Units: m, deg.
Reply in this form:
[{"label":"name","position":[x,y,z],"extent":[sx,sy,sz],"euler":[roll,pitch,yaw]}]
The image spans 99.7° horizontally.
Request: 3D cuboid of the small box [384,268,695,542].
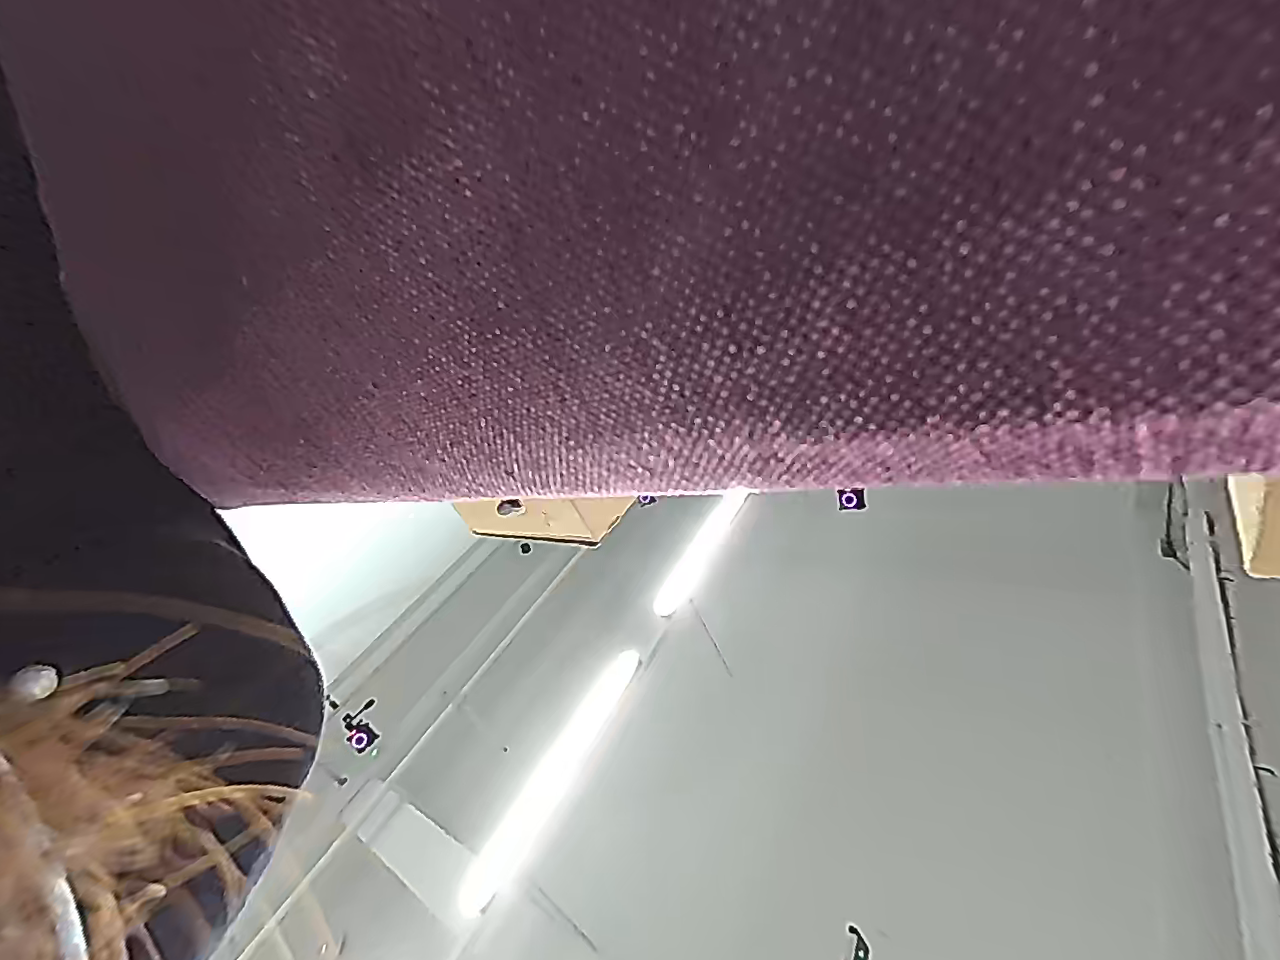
[{"label":"small box","position":[-0.086,-0.065,0.478],"extent":[0.179,0.176,0.168],"euler":[-1,-143,41]}]
